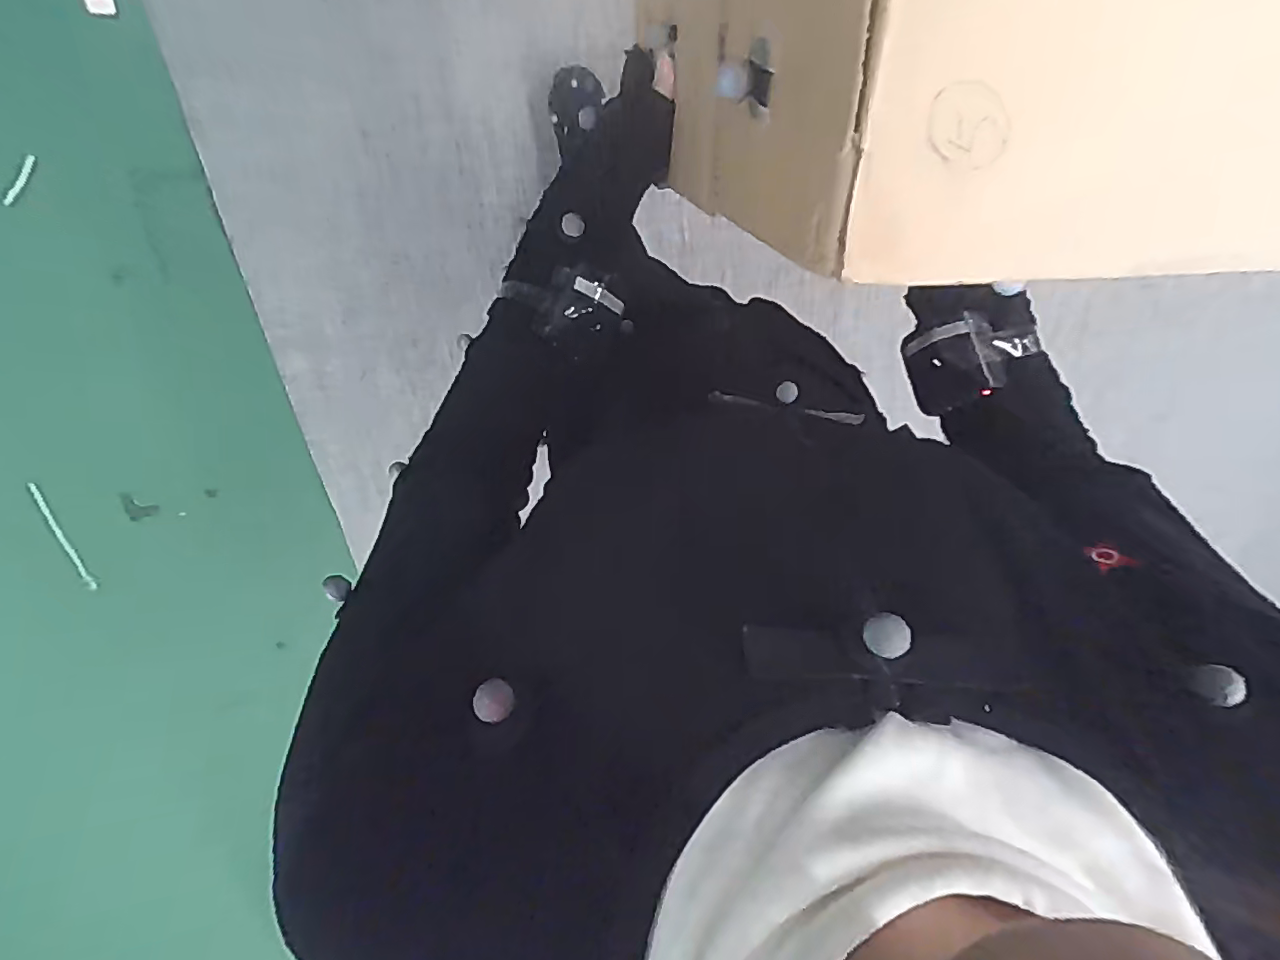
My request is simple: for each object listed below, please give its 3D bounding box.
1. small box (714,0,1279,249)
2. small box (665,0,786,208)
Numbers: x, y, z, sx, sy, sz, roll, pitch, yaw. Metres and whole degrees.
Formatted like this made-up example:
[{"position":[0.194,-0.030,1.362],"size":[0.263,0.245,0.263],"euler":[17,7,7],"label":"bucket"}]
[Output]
[{"position":[0.126,-0.177,0.166],"size":[0.179,0.176,0.168],"euler":[-5,126,-5],"label":"small box"},{"position":[0.107,-0.264,0.301],"size":[0.168,0.176,0.179],"euler":[-5,125,-3],"label":"small box"}]
